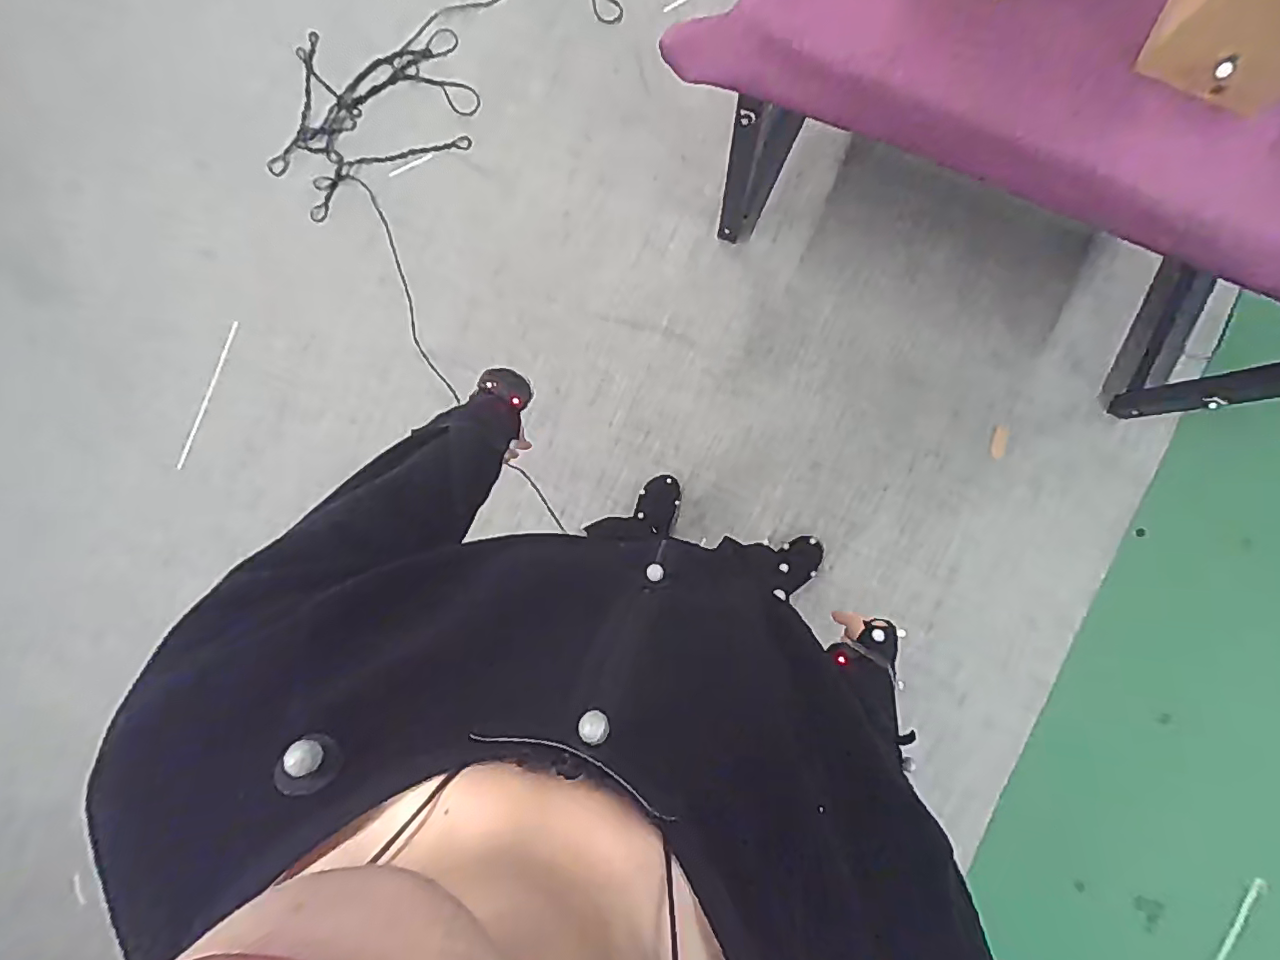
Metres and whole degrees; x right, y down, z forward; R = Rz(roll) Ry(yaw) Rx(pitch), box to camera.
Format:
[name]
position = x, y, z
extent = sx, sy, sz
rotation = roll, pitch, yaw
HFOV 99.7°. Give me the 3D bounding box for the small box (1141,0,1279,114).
[small box]
position = 0.770, -0.596, 0.644
extent = 0.168, 0.176, 0.179
rotation = 27, 92, 4
